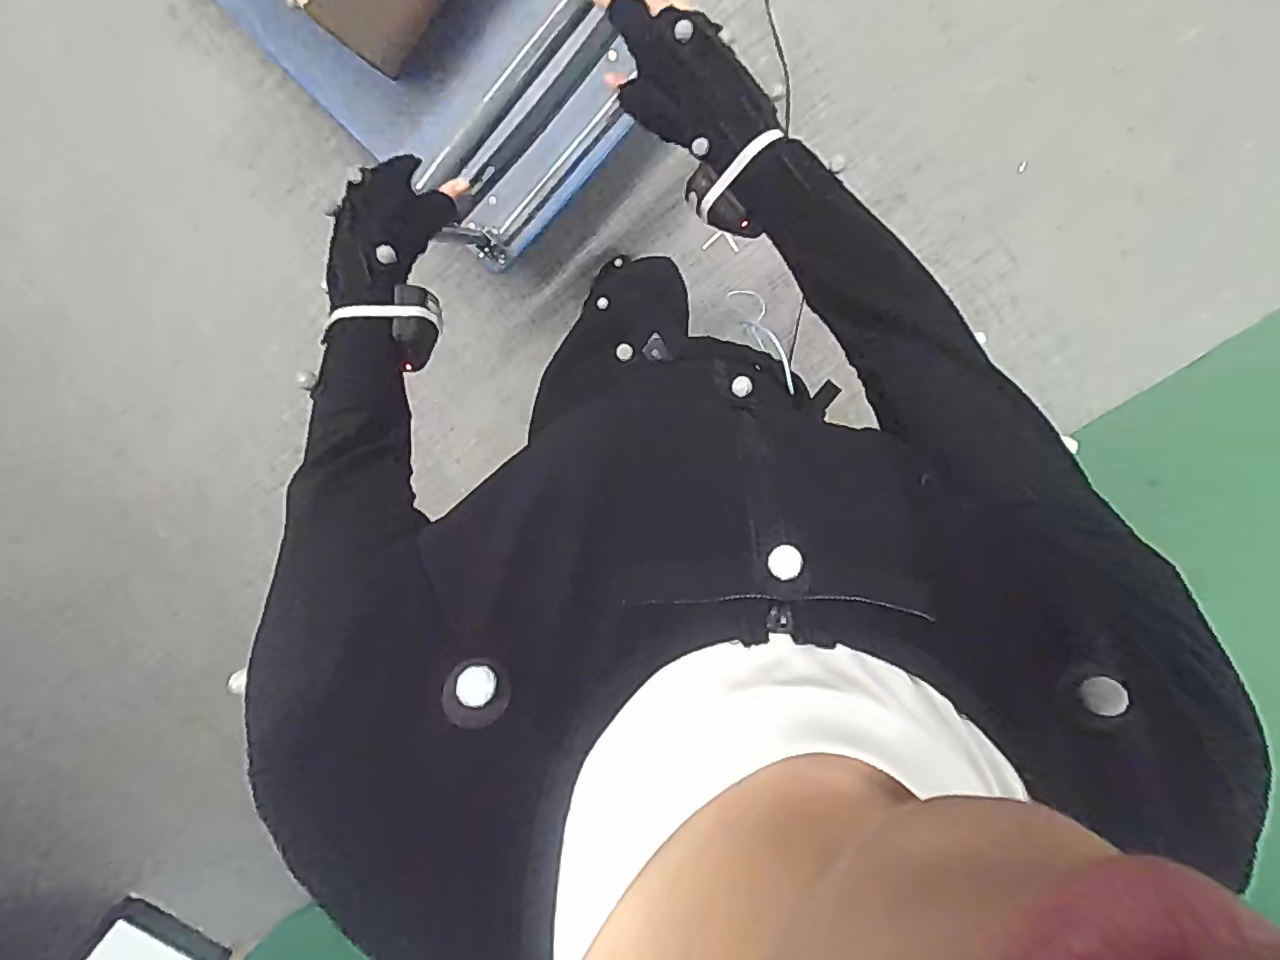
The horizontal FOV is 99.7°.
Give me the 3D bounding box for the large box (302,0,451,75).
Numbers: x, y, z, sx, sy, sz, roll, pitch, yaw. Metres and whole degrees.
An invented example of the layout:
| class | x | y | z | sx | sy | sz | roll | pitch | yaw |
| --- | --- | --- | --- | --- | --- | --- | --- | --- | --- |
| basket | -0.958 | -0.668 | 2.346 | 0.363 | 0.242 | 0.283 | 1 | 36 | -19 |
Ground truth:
| class | x | y | z | sx | sy | sz | roll | pitch | yaw |
| --- | --- | --- | --- | --- | --- | --- | --- | --- | --- |
| large box | -0.437 | -0.951 | 0.816 | 0.320 | 0.320 | 0.408 | 41 | 107 | -13 |
